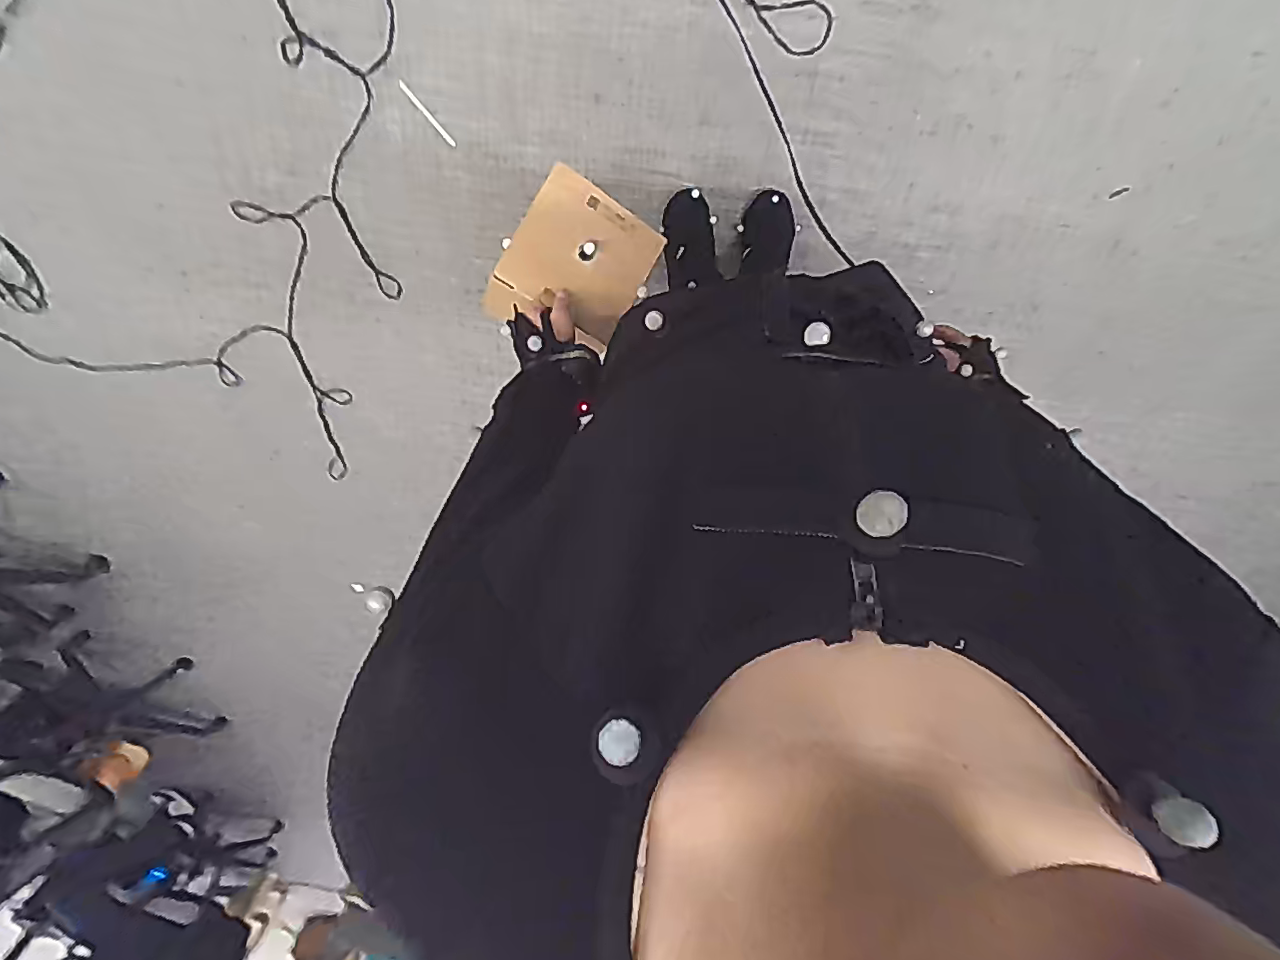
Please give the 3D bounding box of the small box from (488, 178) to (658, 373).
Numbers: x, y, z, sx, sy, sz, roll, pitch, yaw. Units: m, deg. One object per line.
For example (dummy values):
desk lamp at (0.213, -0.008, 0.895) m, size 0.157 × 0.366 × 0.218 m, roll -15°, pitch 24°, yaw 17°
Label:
small box at (-0.094, -0.275, 0.754) m, size 0.168 × 0.179 × 0.176 m, roll 28°, pitch 83°, yaw -17°
